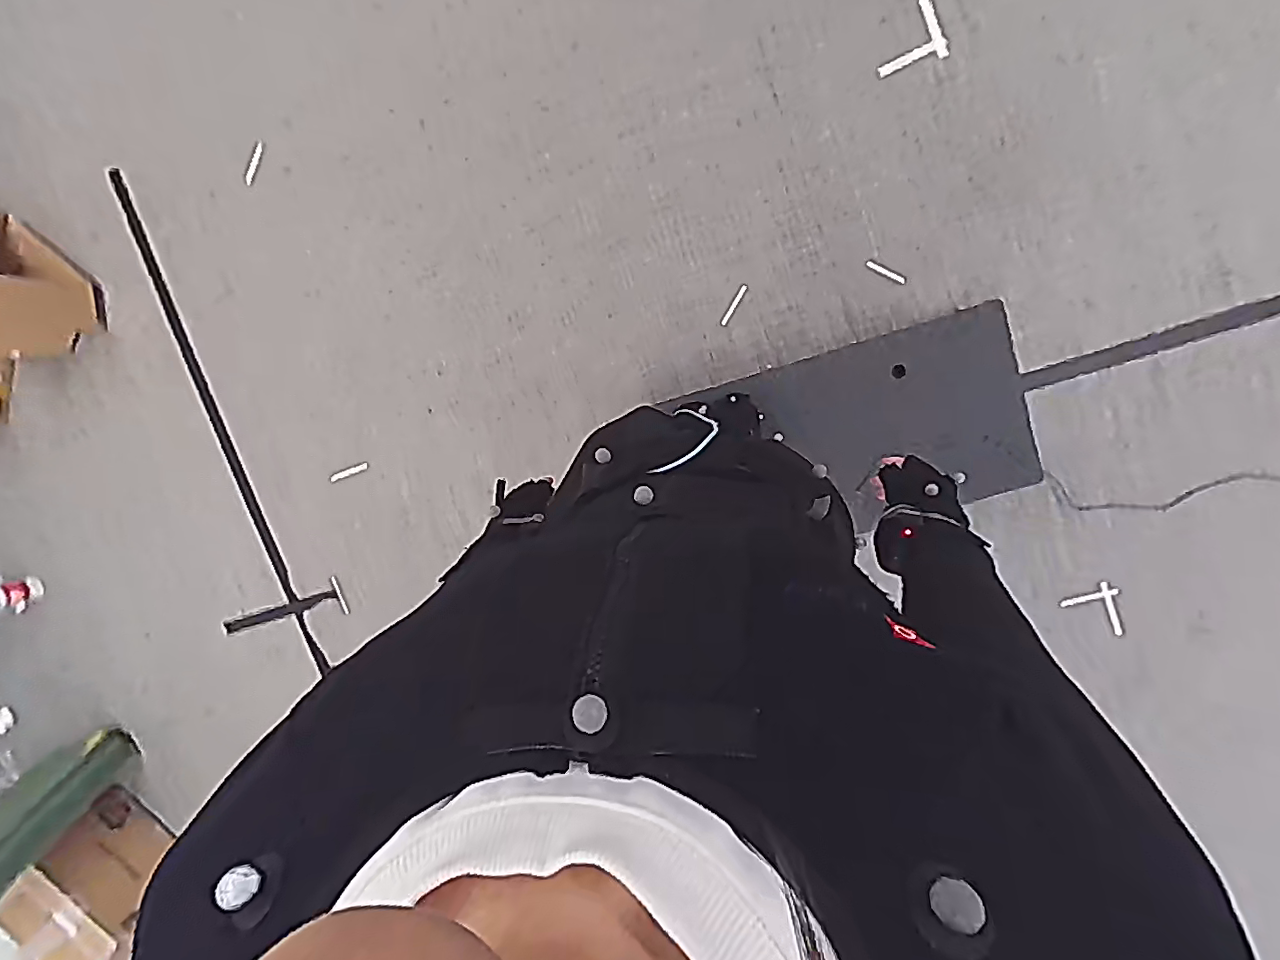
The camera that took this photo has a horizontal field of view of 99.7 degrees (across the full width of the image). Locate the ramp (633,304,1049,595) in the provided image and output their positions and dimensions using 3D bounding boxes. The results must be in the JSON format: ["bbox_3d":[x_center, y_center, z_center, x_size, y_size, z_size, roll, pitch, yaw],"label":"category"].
[{"bbox_3d":[0.524,-0.075,1.427,0.991,0.206,0.509,-19,92,13],"label":"ramp"}]
